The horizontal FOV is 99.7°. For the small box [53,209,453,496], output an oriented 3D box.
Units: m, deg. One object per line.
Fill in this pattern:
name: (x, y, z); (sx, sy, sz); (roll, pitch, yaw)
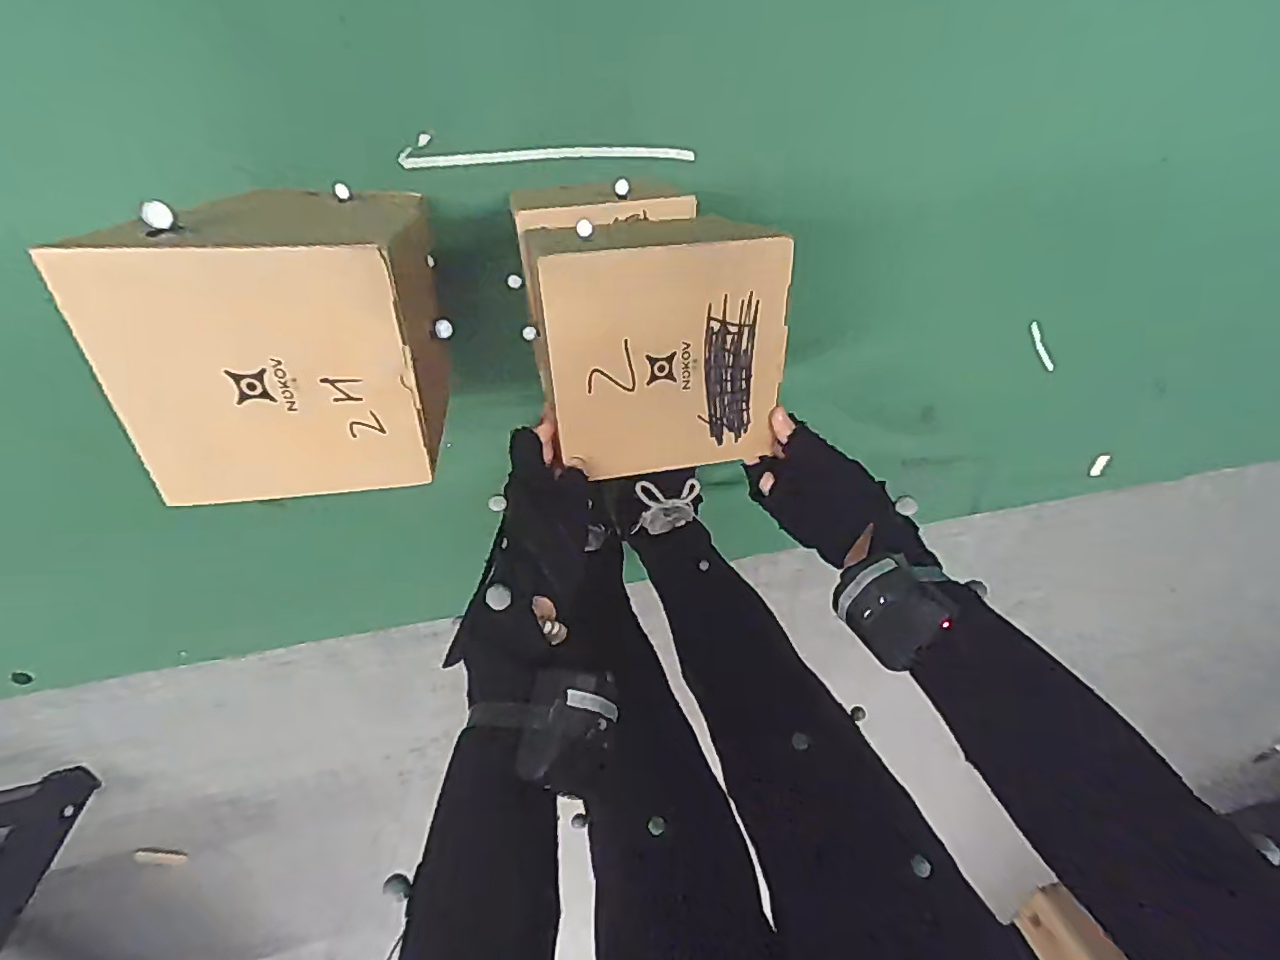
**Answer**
small box: (-0.250, -0.105, 0.411); (0.179, 0.176, 0.168); (-5, 123, -11)

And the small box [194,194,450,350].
small box: (-0.294, -0.183, 0.551); (0.168, 0.176, 0.179); (-4, 122, -12)

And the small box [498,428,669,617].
small box: (-0.082, 0.058, 0.777); (0.179, 0.176, 0.168); (33, 120, -3)
